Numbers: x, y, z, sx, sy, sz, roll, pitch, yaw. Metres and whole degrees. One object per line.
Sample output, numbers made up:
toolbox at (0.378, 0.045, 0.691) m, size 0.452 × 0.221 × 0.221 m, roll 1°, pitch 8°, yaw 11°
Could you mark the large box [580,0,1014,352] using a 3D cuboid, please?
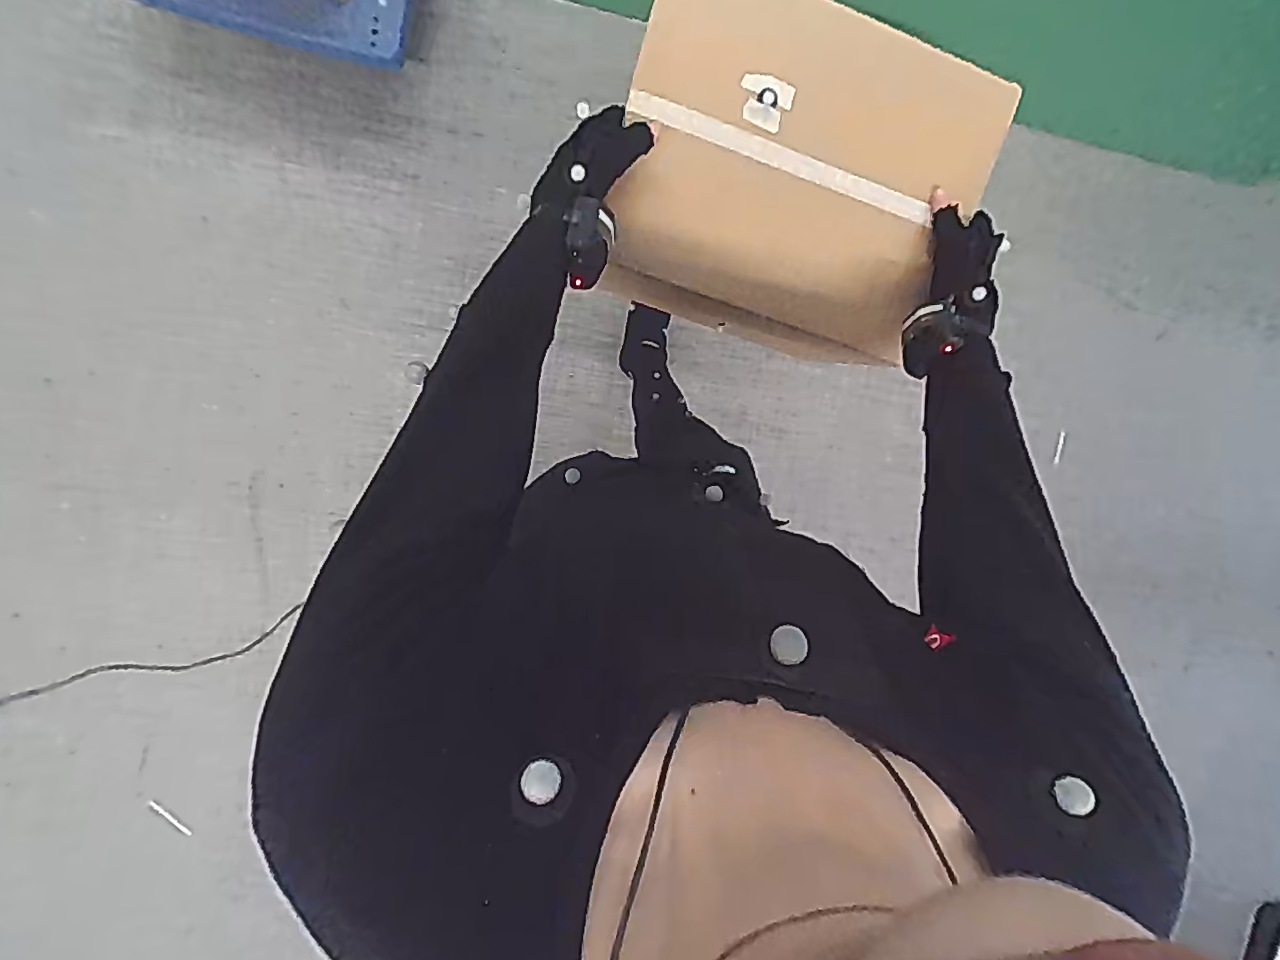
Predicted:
large box at (0.158, -0.375, 0.721) m, size 0.408 × 0.320 × 0.320 m, roll 15°, pitch 102°, yaw -7°
